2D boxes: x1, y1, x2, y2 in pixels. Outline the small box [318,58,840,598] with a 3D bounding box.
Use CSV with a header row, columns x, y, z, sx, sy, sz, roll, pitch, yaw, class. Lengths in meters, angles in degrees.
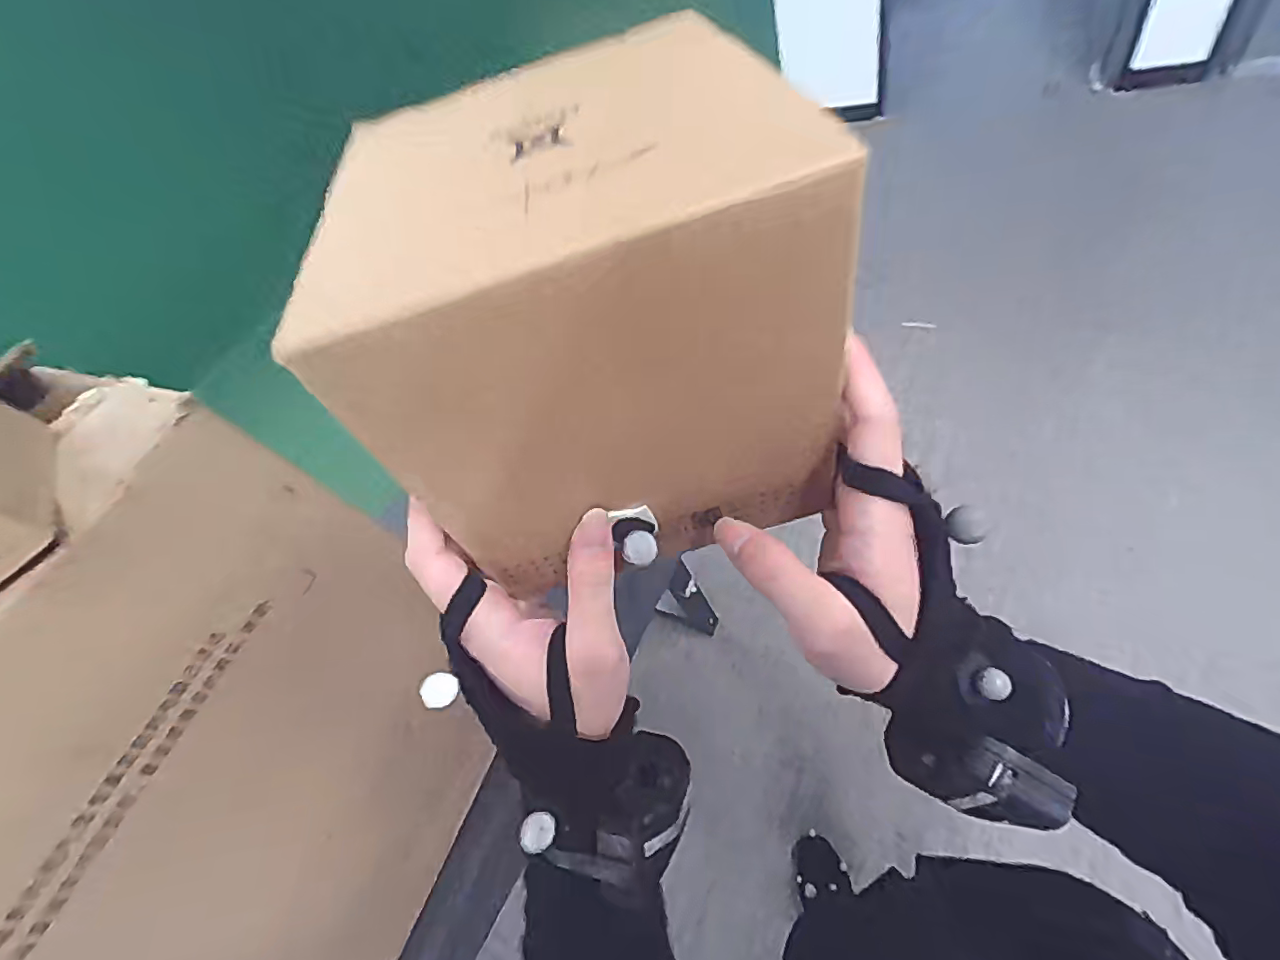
x,y,z,sx,sy,sz,roll,pitch,yaw,class
-0.017,-0.069,0.274,0.168,0.176,0.179,-18,50,4,small box
